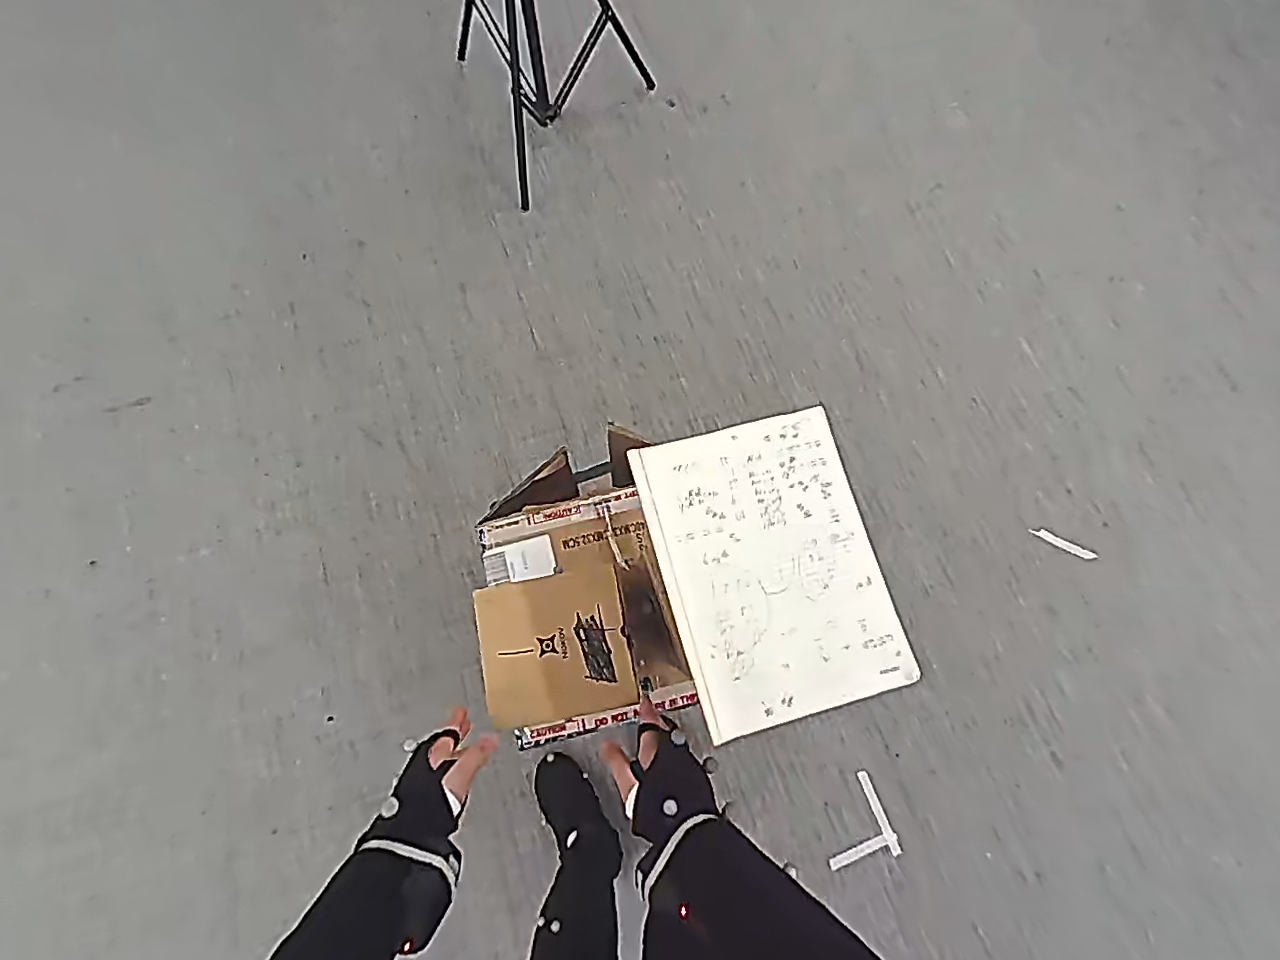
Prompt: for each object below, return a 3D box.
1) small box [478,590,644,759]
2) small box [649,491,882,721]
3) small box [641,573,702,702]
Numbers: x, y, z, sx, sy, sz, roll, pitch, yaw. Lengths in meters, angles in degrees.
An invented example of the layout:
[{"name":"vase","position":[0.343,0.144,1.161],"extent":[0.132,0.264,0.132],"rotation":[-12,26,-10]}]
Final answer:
[{"name":"small box","position":[-0.098,0.241,0.712],"extent":[0.179,0.176,0.168],"rotation":[-11,78,-4]},{"name":"small box","position":[0.114,0.131,0.580],"extent":[0.168,0.176,0.179],"rotation":[-17,78,-8]},{"name":"small box","position":[0.110,0.178,0.735],"extent":[0.179,0.176,0.168],"rotation":[-19,78,-8]}]
